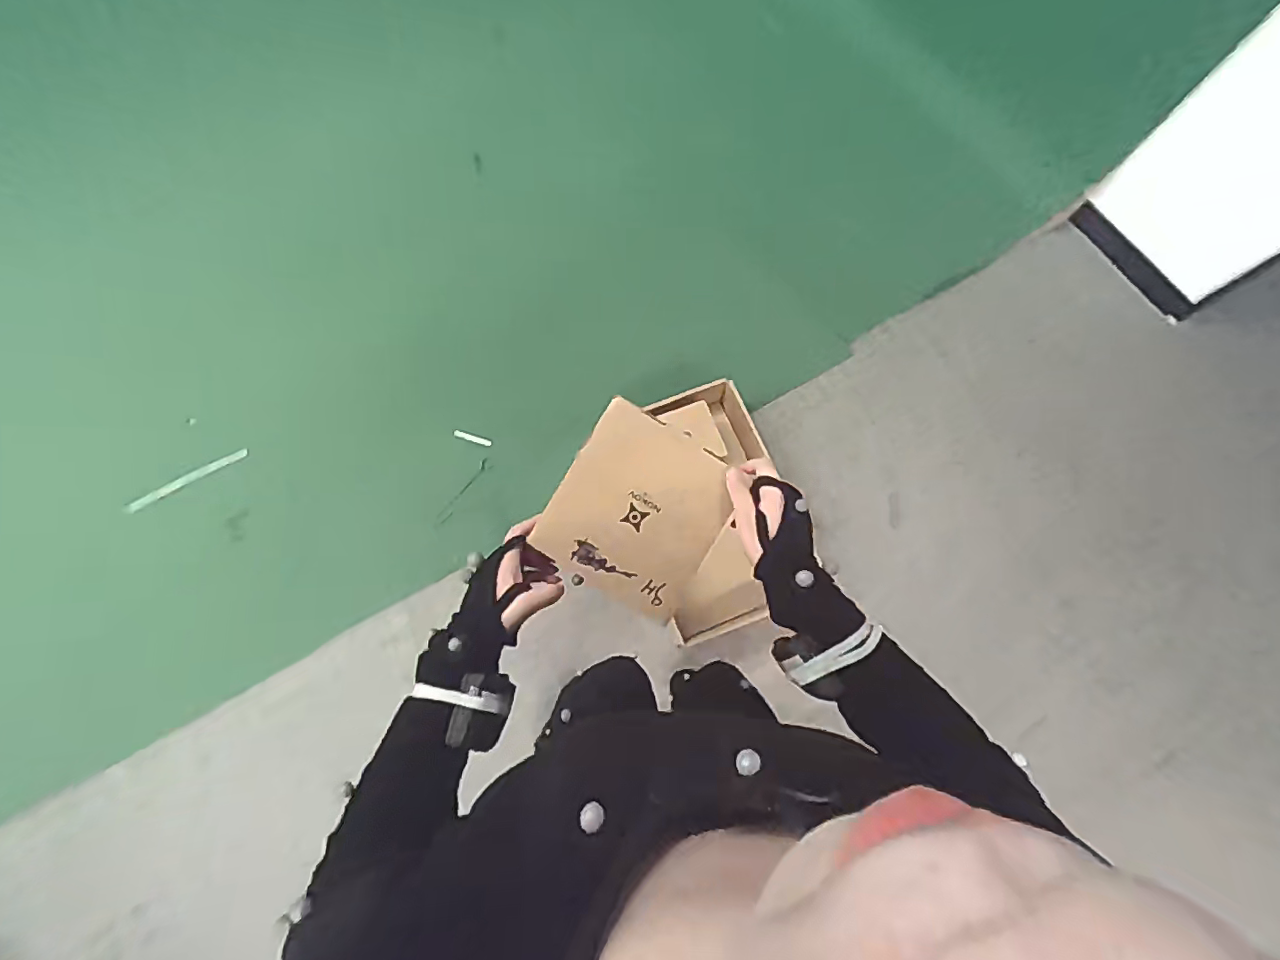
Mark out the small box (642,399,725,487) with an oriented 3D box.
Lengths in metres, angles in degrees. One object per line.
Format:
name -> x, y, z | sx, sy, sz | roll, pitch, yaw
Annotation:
small box -> 0.114, -0.093, 1.474 | 0.179, 0.176, 0.168 | -19, 77, -5
